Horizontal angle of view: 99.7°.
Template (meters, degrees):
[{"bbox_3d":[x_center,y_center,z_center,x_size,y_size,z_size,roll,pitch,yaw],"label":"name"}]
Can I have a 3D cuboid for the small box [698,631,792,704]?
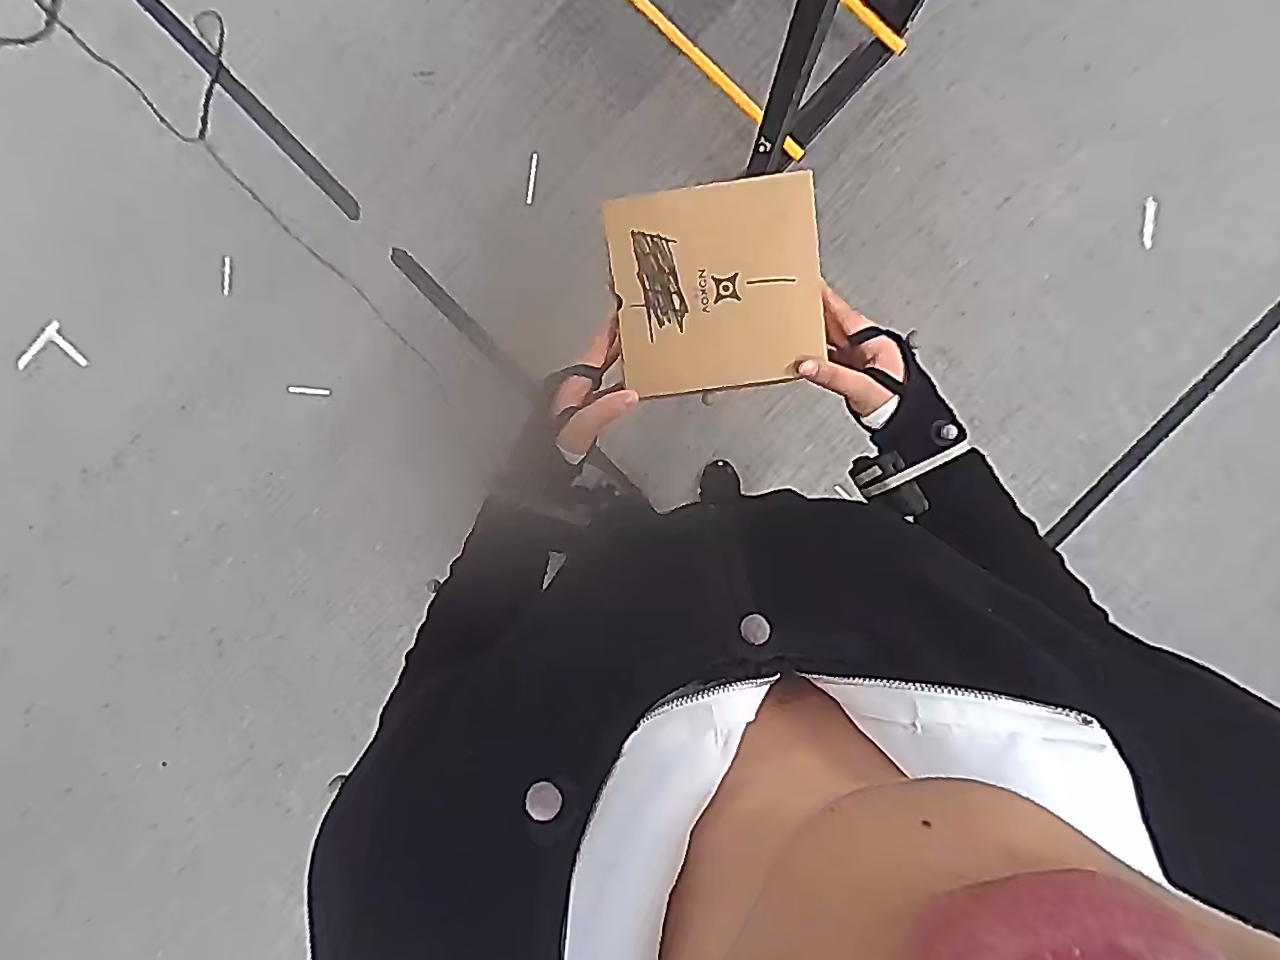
[{"bbox_3d":[0.268,0.533,1.428,0.168,0.176,0.179,43,92,0],"label":"small box"}]

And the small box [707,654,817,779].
[{"bbox_3d":[0.275,0.542,1.265,0.168,0.176,0.179,-45,88,1],"label":"small box"}]

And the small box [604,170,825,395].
[{"bbox_3d":[0.067,-0.176,0.536,0.179,0.176,0.168,-7,98,3],"label":"small box"}]
